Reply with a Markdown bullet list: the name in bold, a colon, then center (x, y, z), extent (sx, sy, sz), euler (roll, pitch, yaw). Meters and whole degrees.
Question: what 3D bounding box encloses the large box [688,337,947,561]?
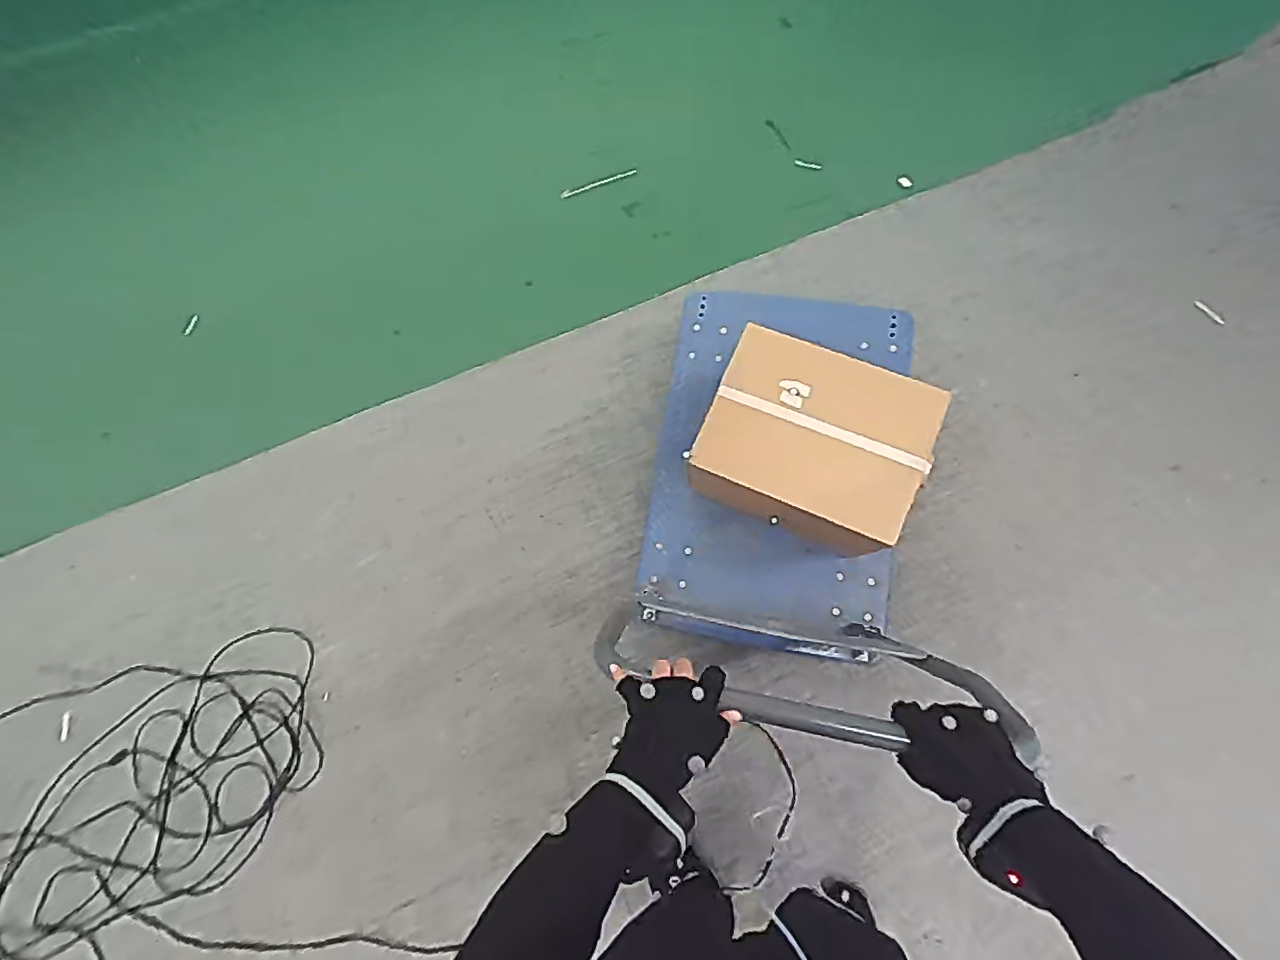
- **large box**: center (0.353, -0.047, 1.161), extent (0.408, 0.320, 0.320), euler (23, 81, 12)
